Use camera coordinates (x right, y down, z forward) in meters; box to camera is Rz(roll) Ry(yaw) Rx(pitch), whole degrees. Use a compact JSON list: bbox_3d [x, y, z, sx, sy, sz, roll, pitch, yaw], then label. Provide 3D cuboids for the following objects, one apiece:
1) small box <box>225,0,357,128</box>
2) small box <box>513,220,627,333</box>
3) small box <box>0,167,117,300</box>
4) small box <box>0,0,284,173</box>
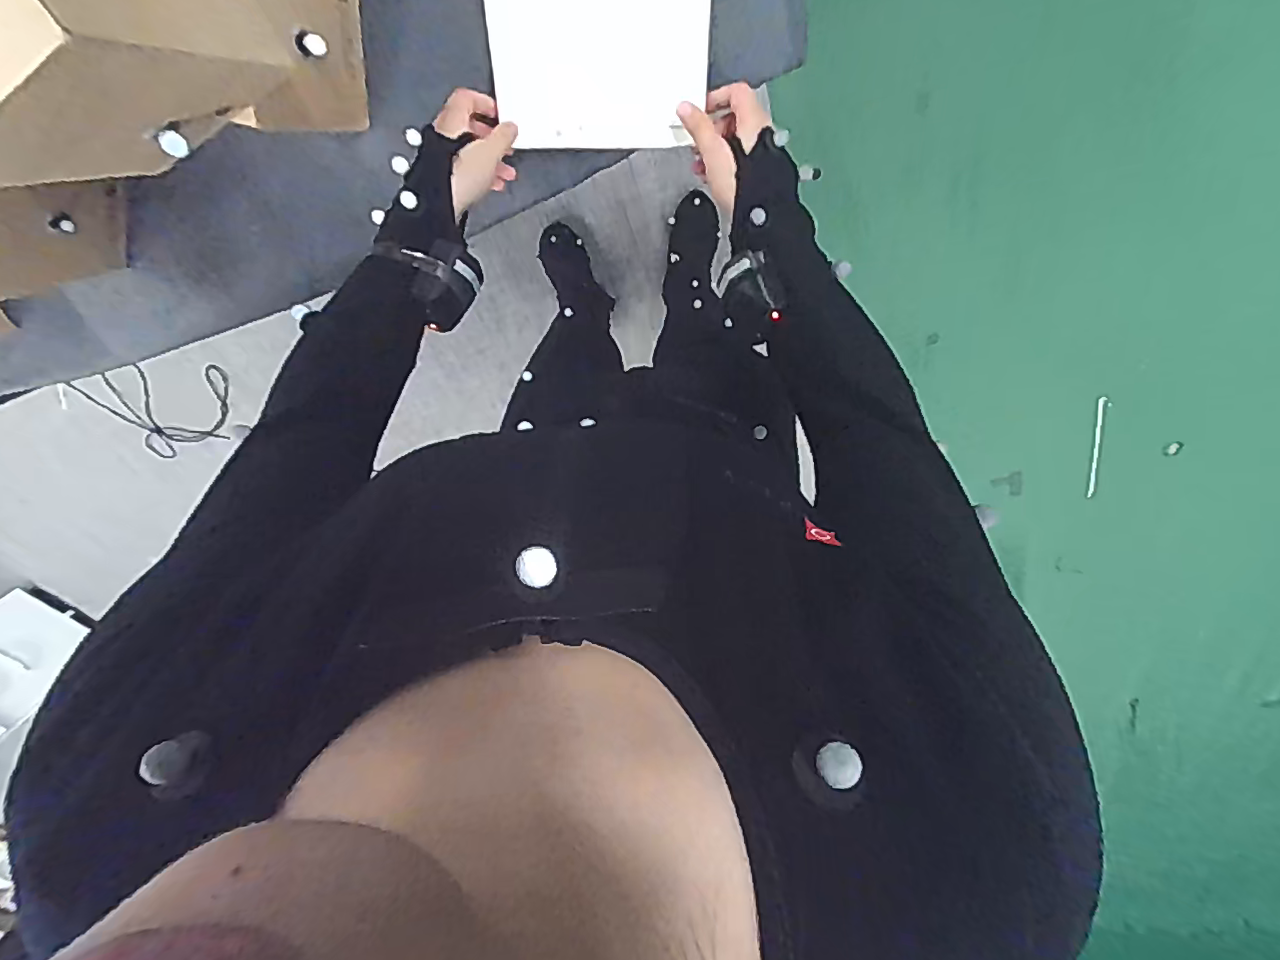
[{"bbox_3d":[-0.352,-0.398,0.432,0.179,0.176,0.168,12,124,0],"label":"small box"},{"bbox_3d":[-0.154,-0.457,1.221,0.176,0.168,0.179,15,105,-40],"label":"small box"},{"bbox_3d":[-0.670,-0.310,0.531,0.179,0.176,0.168,28,122,-11],"label":"small box"},{"bbox_3d":[-0.363,-0.294,0.304,0.168,0.176,0.179,-17,120,19],"label":"small box"}]
